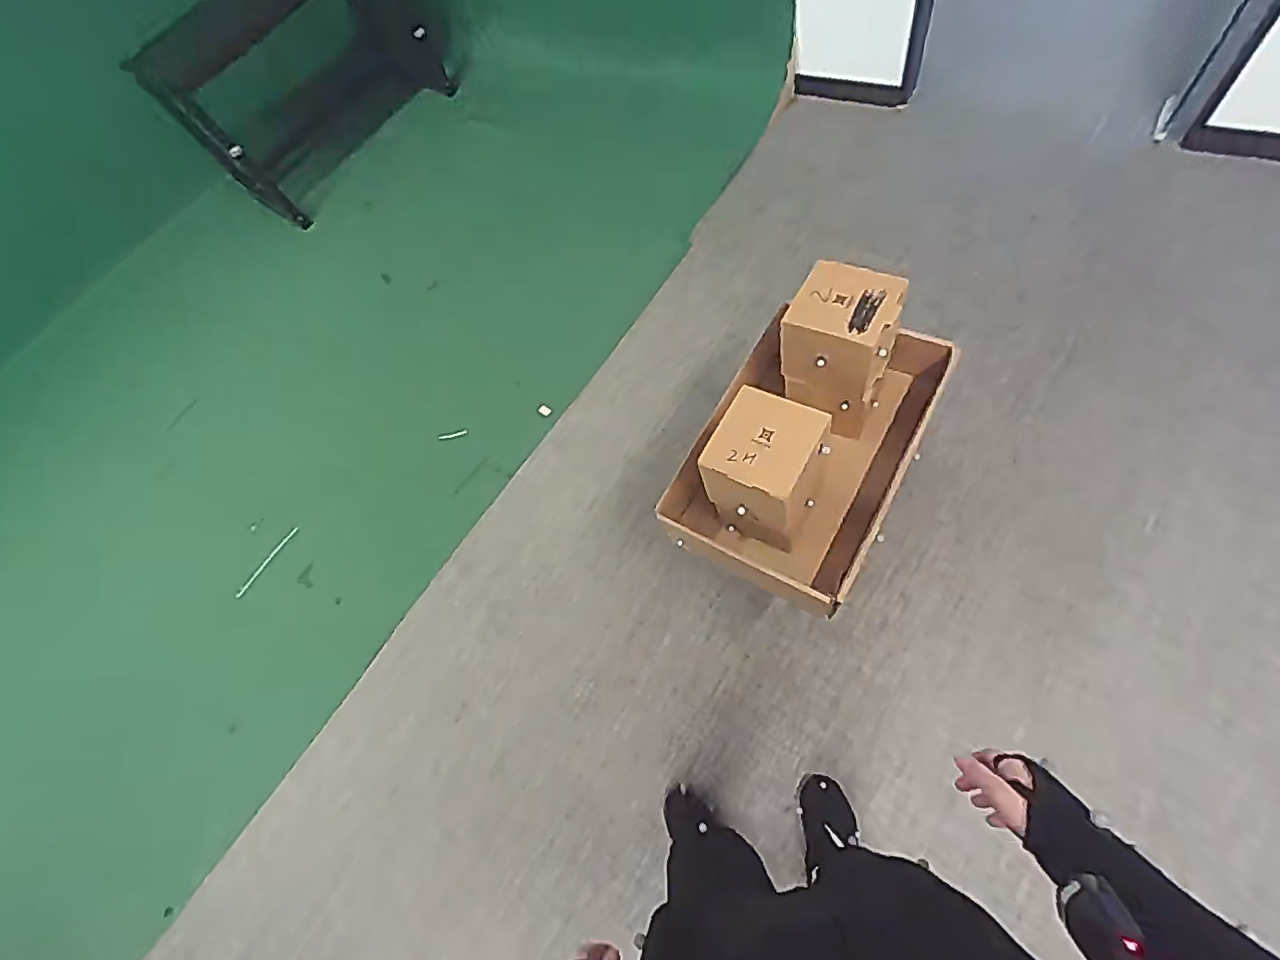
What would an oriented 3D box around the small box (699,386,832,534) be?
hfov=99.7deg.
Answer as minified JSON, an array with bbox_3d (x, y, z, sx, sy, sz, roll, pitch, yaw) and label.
[{"bbox_3d":[0.226,-0.032,0.975,0.168,0.176,0.179,26,74,25],"label":"small box"}]

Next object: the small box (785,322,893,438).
[{"bbox_3d":[0.433,-0.216,1.201,0.179,0.176,0.168,22,71,22],"label":"small box"}]
